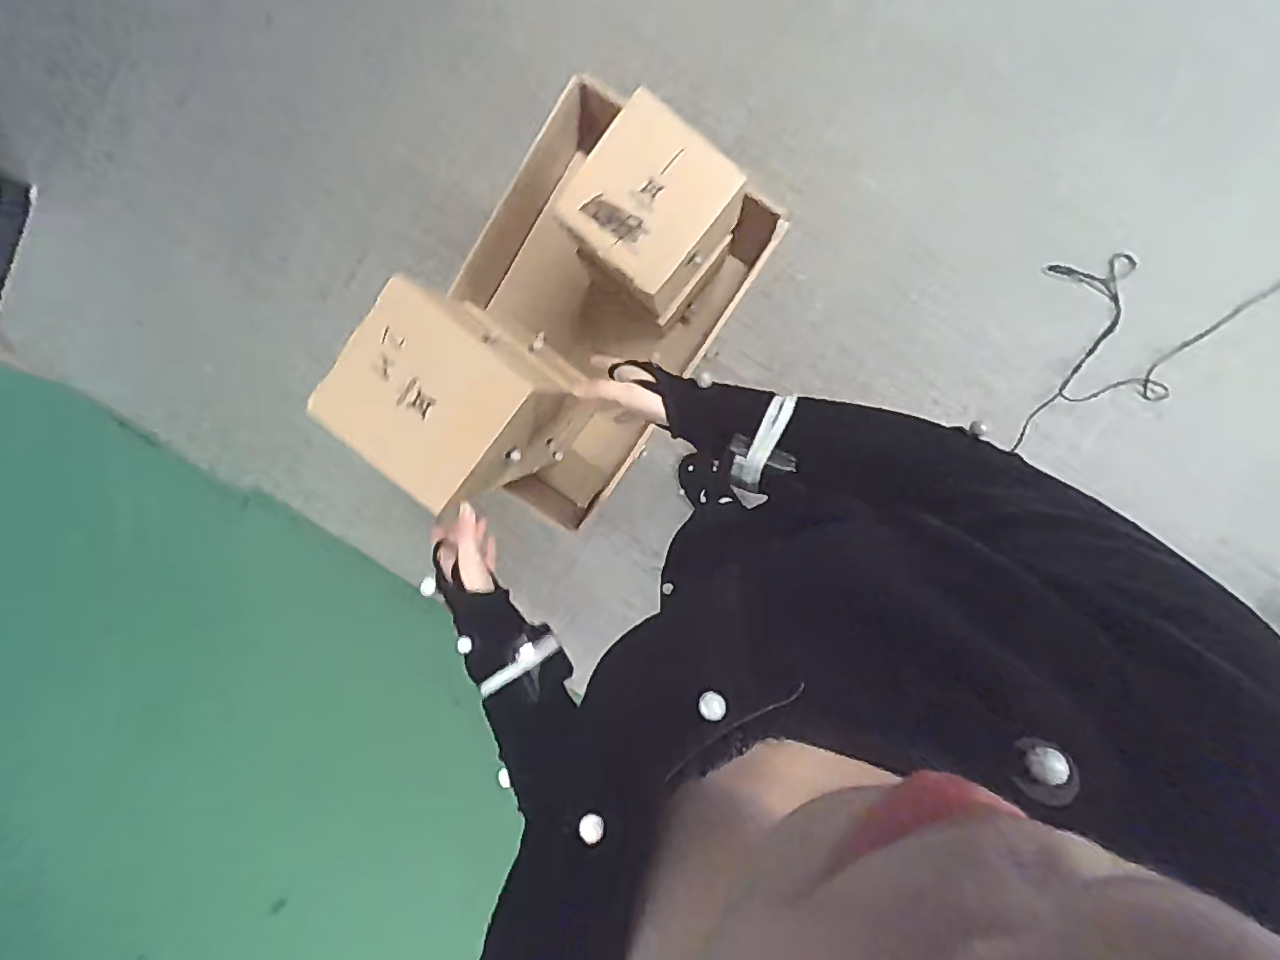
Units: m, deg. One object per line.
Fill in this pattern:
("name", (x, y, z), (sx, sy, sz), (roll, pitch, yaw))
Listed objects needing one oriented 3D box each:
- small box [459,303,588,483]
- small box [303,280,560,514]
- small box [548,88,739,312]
("small box", (-0.199, -0.118, 0.772), (0.179, 0.176, 0.168), (39, 100, -1))
("small box", (-0.215, -0.091, 0.610), (0.179, 0.176, 0.168), (40, 99, -1))
("small box", (0.011, -0.349, 0.719), (0.168, 0.176, 0.179), (40, 99, -1))
